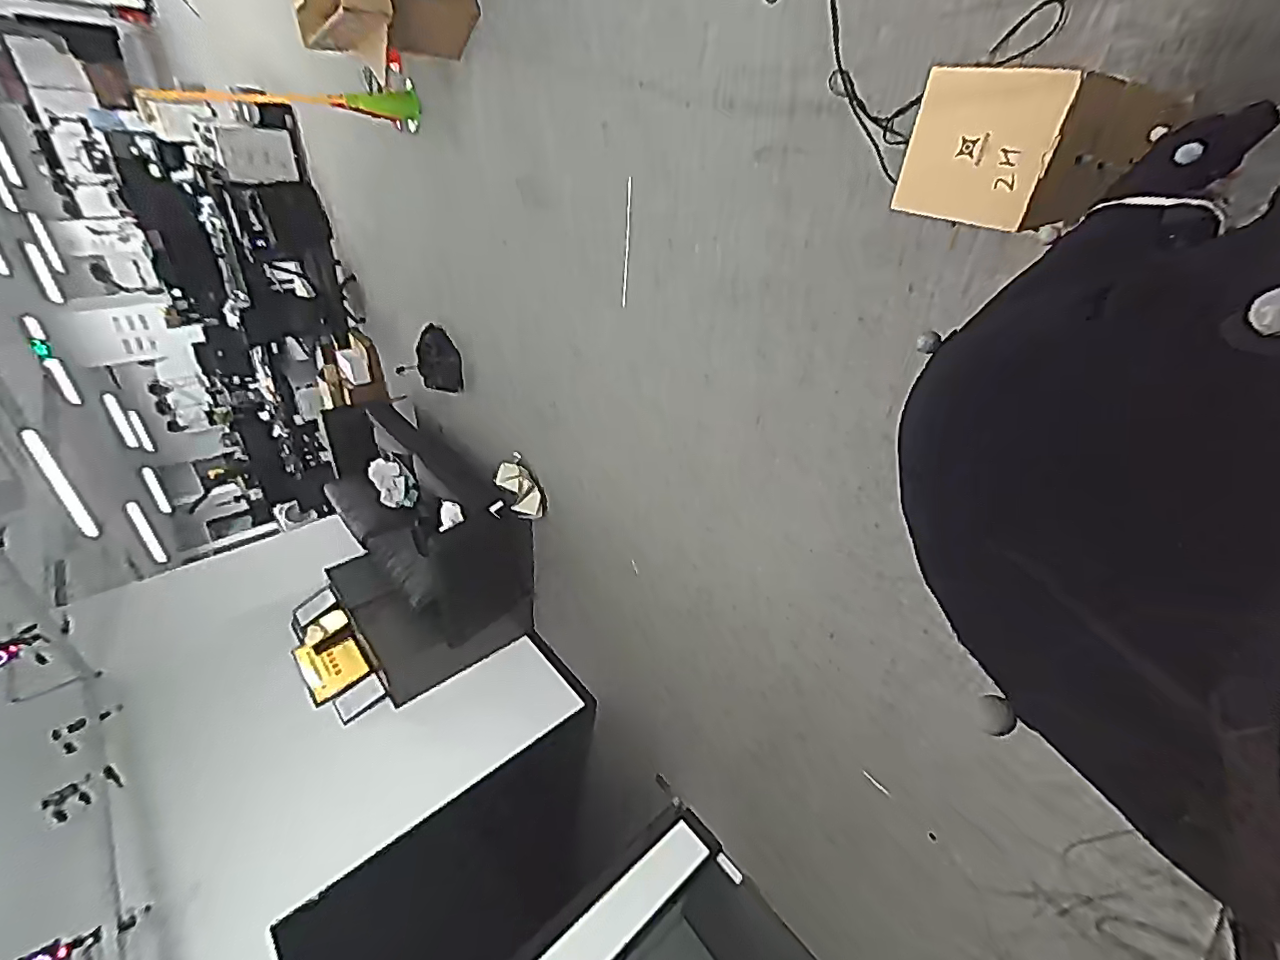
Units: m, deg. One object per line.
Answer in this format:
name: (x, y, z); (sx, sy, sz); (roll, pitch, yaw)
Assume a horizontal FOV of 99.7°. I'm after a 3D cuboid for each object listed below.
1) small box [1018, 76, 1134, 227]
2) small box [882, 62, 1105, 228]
small box: (0.603, -0.503, 0.824); (0.168, 0.176, 0.179); (36, 136, 35)
small box: (0.473, -0.454, 0.735); (0.179, 0.176, 0.168); (36, 136, 35)
